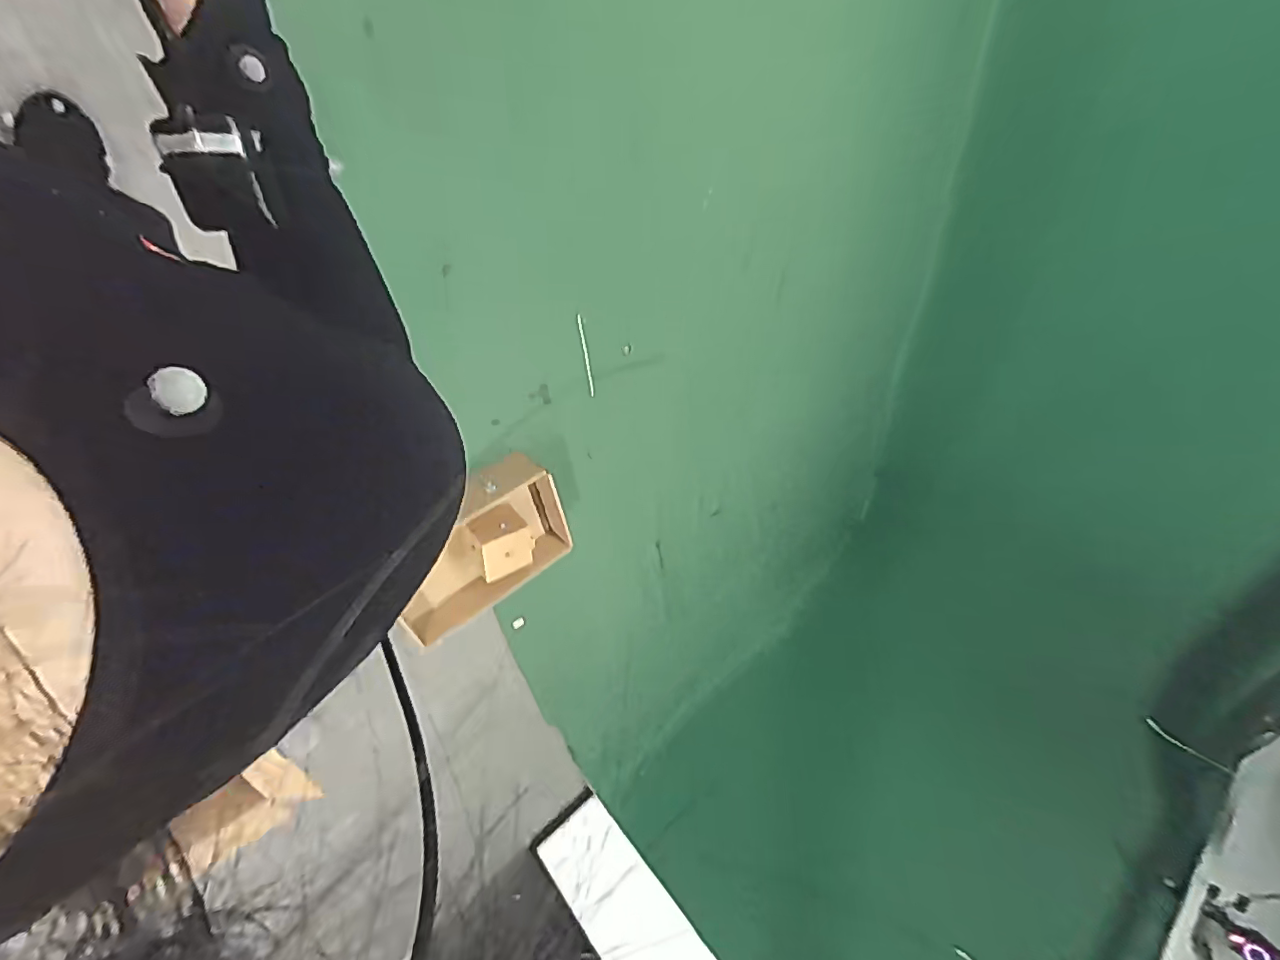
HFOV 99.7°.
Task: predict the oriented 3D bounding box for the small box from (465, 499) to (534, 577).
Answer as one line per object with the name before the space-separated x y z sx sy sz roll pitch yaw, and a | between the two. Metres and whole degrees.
small box | -0.481 0.193 1.838 0.179 0.176 0.168 -23 133 -33
